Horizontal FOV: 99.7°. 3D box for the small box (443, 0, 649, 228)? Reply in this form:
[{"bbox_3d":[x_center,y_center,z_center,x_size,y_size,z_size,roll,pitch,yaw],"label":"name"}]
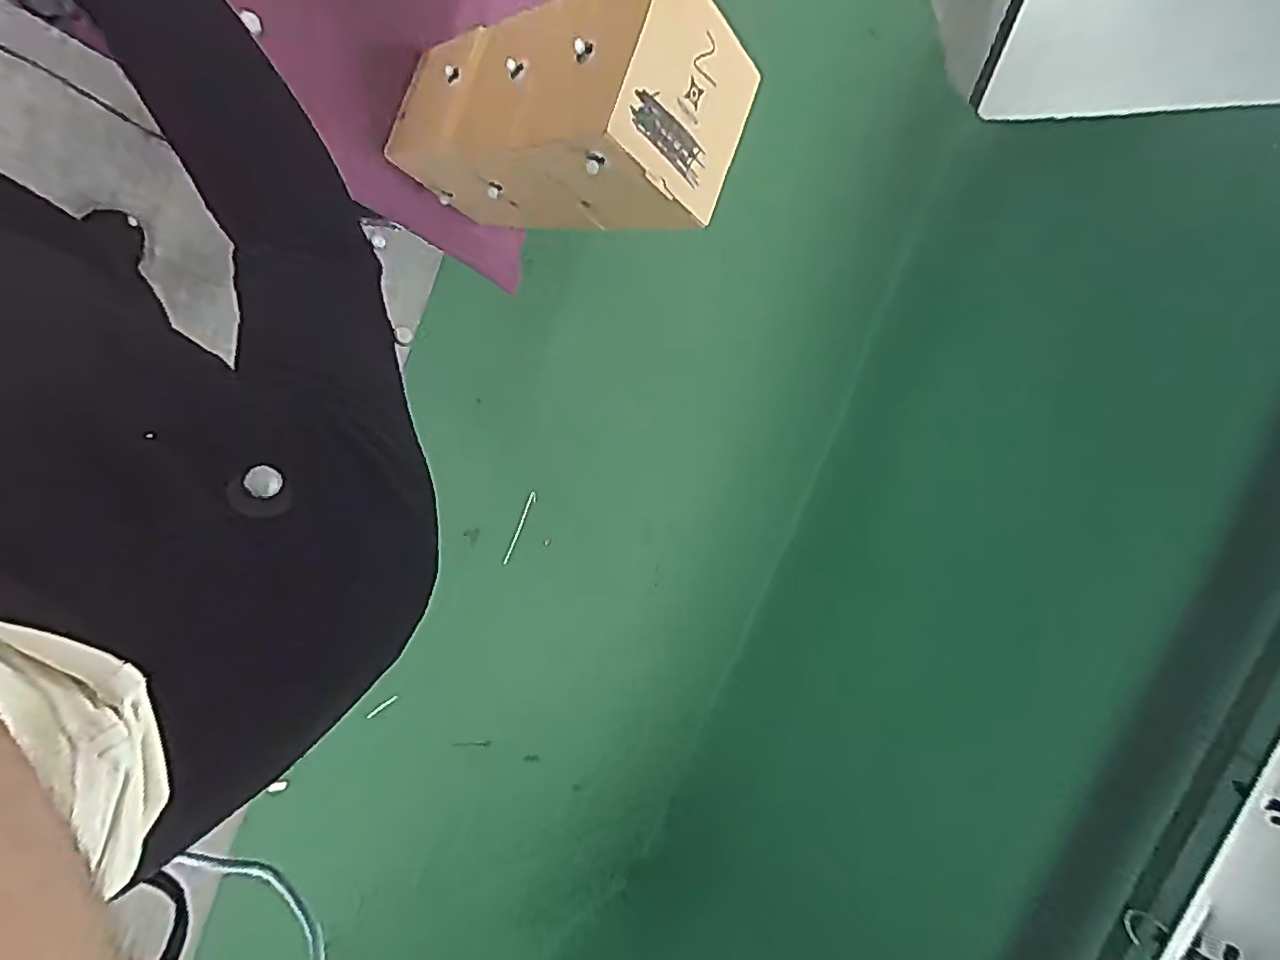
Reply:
[{"bbox_3d":[-0.124,-0.453,0.696,0.168,0.176,0.179,21,94,-50],"label":"small box"}]

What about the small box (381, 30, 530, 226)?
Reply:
[{"bbox_3d":[-0.242,-0.503,0.797,0.179,0.176,0.168,21,93,-51],"label":"small box"}]
